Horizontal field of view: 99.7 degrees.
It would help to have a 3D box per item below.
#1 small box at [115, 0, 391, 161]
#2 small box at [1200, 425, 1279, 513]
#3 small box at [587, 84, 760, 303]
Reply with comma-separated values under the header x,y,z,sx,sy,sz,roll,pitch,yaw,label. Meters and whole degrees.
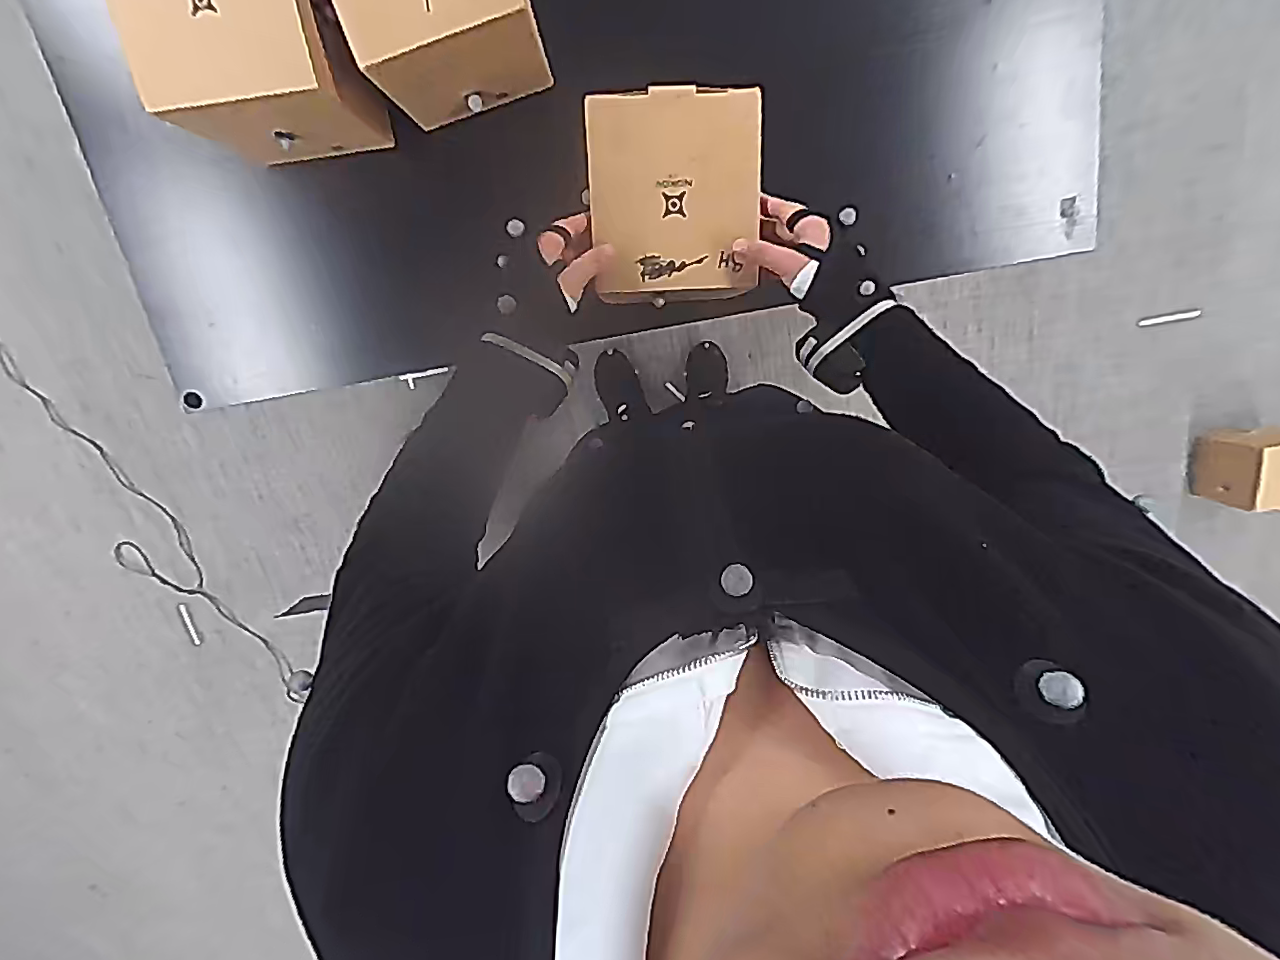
x,y,z,sx,sy,sz,roll,pitch,yaw,label
-0.385,-0.452,0.558,0.168,0.176,0.179,-8,105,1,small box
1.625,-0.034,1.409,0.168,0.176,0.179,-11,104,3,small box
0.033,-0.297,0.596,0.168,0.176,0.179,-2,104,2,small box
